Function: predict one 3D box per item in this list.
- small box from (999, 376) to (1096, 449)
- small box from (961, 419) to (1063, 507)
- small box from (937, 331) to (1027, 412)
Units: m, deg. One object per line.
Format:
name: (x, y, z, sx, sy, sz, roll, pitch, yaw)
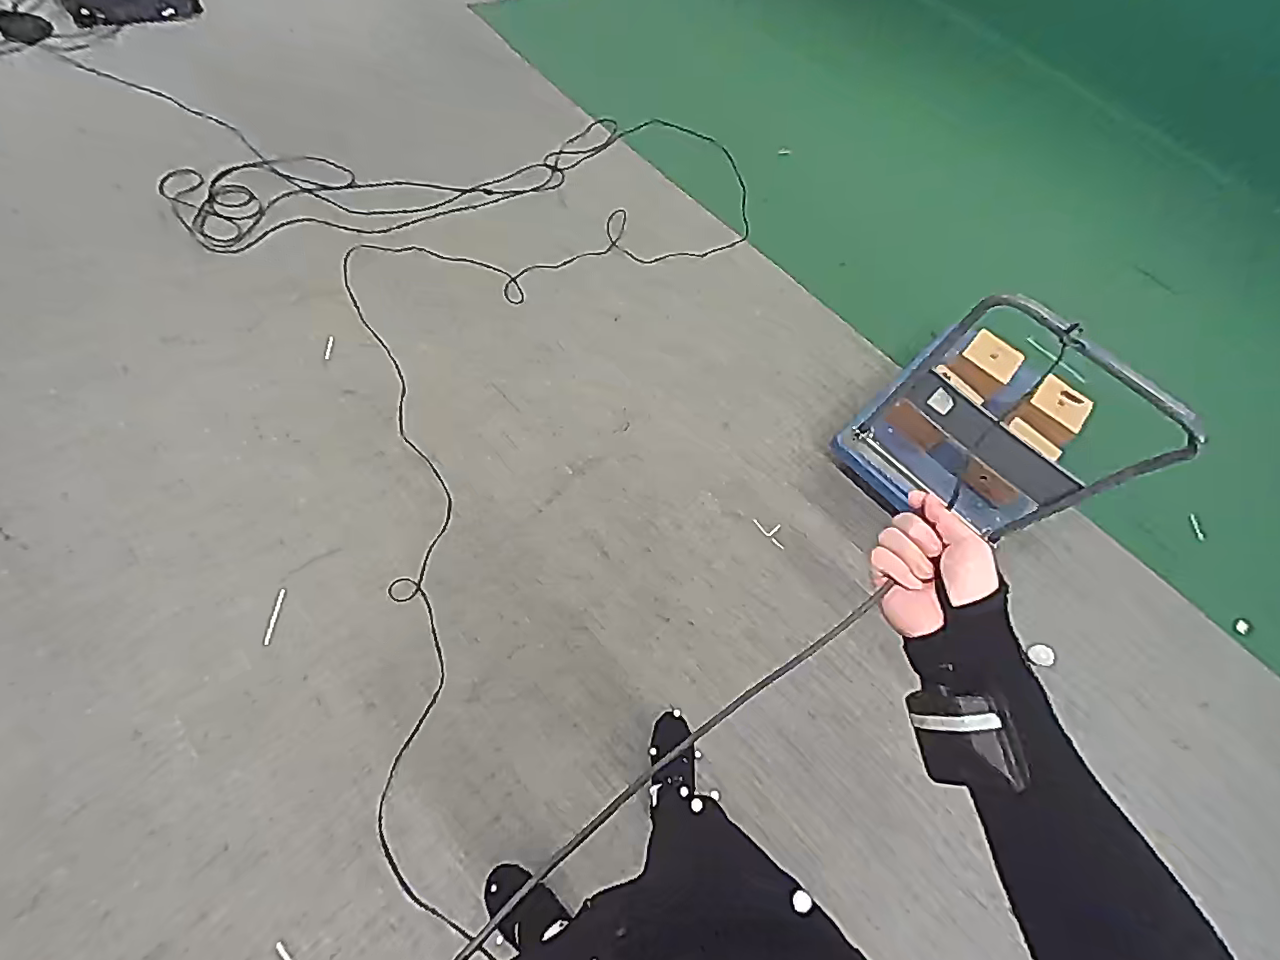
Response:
small box: (1.340, -0.202, 1.790, 0.168, 0.176, 0.179, 42, 65, 13)
small box: (1.146, -0.049, 1.680, 0.179, 0.176, 0.168, -37, 75, -23)
small box: (1.157, -0.365, 1.843, 0.168, 0.176, 0.179, 42, 64, 12)
